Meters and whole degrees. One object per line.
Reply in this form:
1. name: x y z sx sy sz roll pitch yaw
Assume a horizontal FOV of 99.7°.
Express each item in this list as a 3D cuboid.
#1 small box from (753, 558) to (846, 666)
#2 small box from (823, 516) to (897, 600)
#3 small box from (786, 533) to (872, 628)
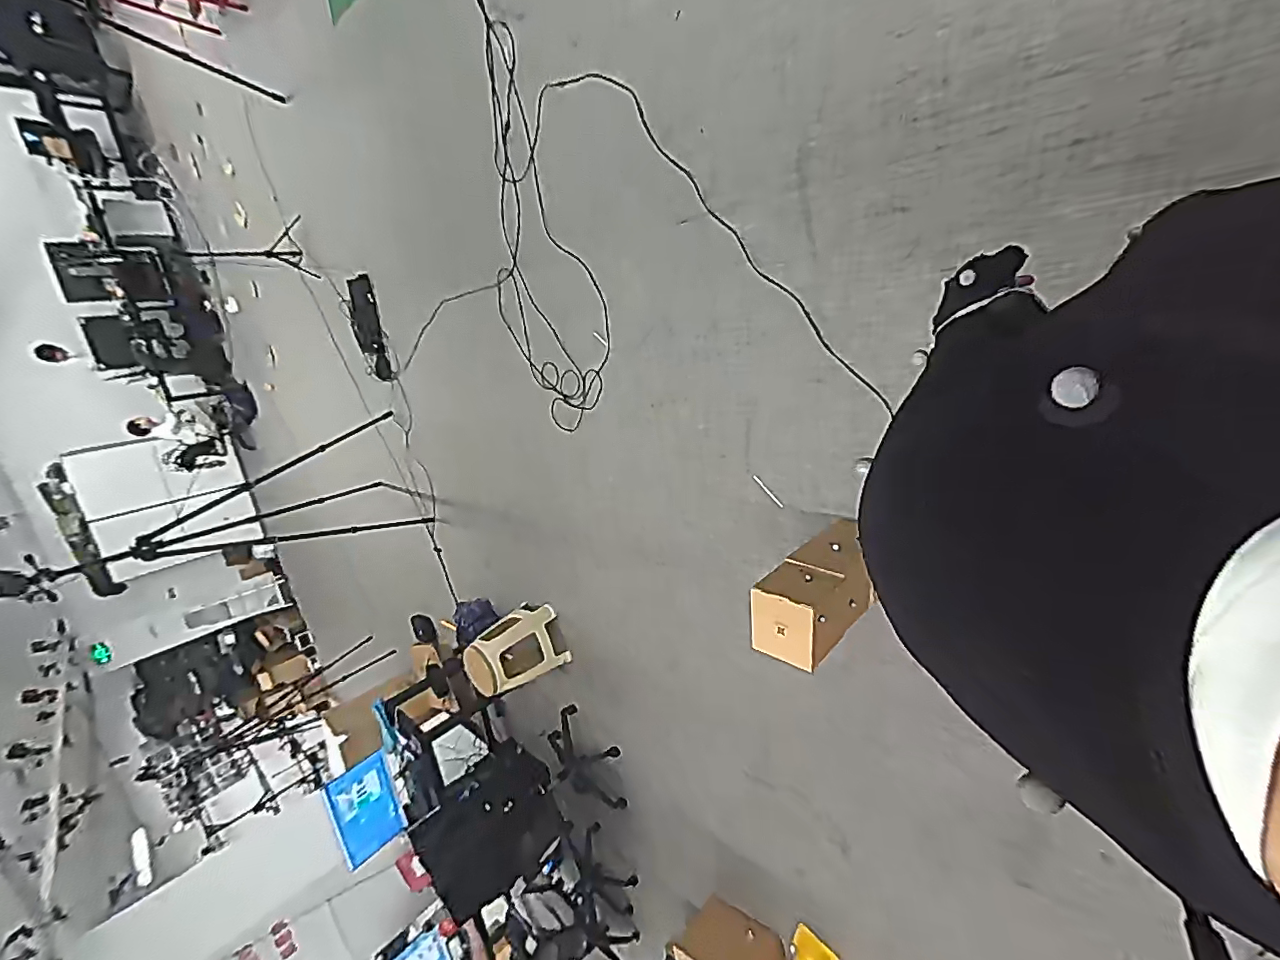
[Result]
1. small box: 0.399 0.321 1.347 0.168 0.176 0.179 12 115 42
2. small box: 0.626 0.217 1.559 0.179 0.176 0.168 11 115 42
3. small box: 0.508 0.264 1.453 0.168 0.176 0.179 12 115 42
